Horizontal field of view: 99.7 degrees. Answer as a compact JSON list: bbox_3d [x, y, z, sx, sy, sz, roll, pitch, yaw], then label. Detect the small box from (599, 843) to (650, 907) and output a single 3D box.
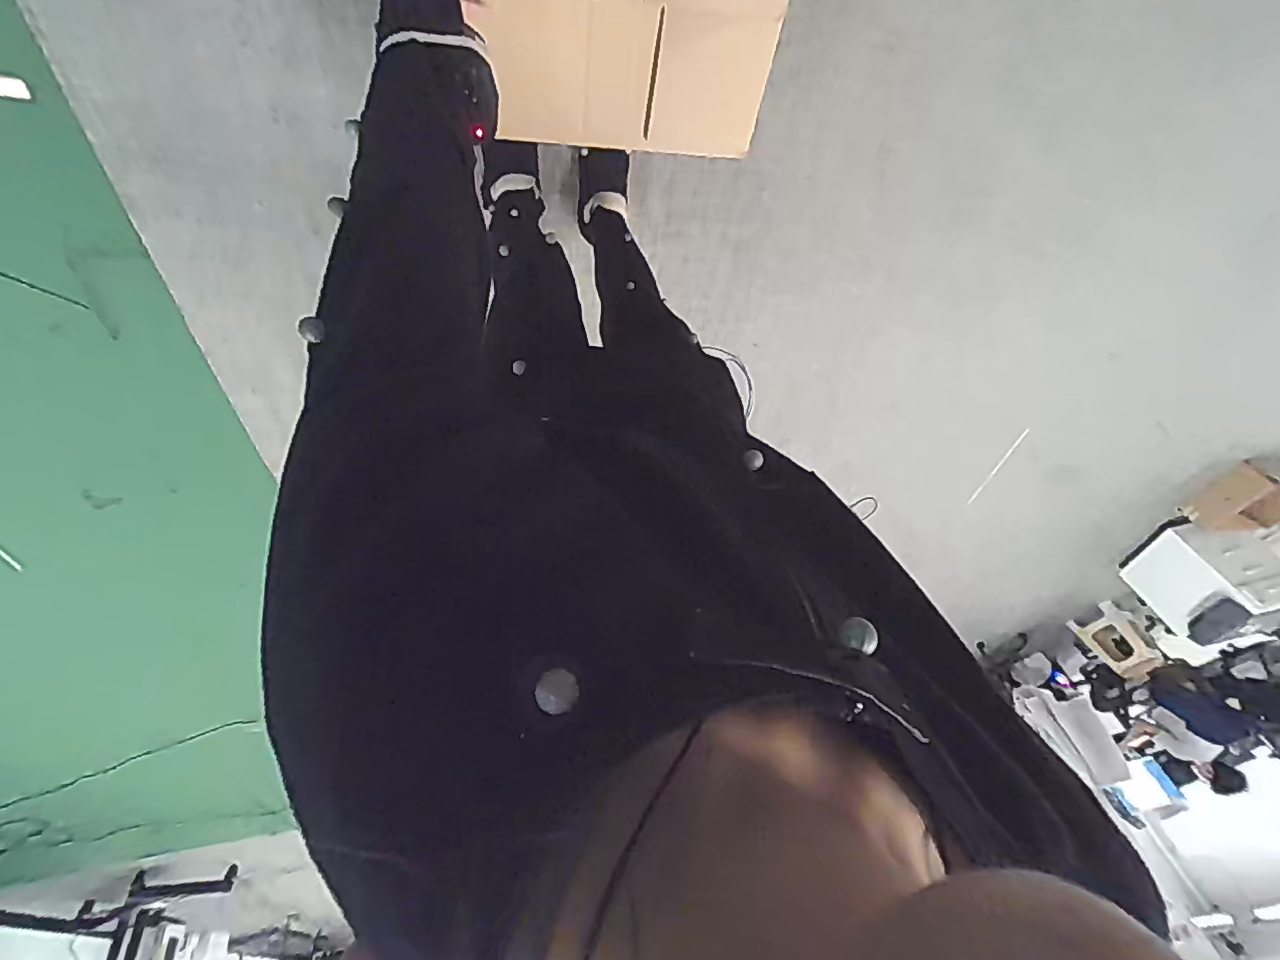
[{"bbox_3d":[-0.069,1.606,2.198,0.179,0.176,0.168,-6,137,-13],"label":"small box"}]
